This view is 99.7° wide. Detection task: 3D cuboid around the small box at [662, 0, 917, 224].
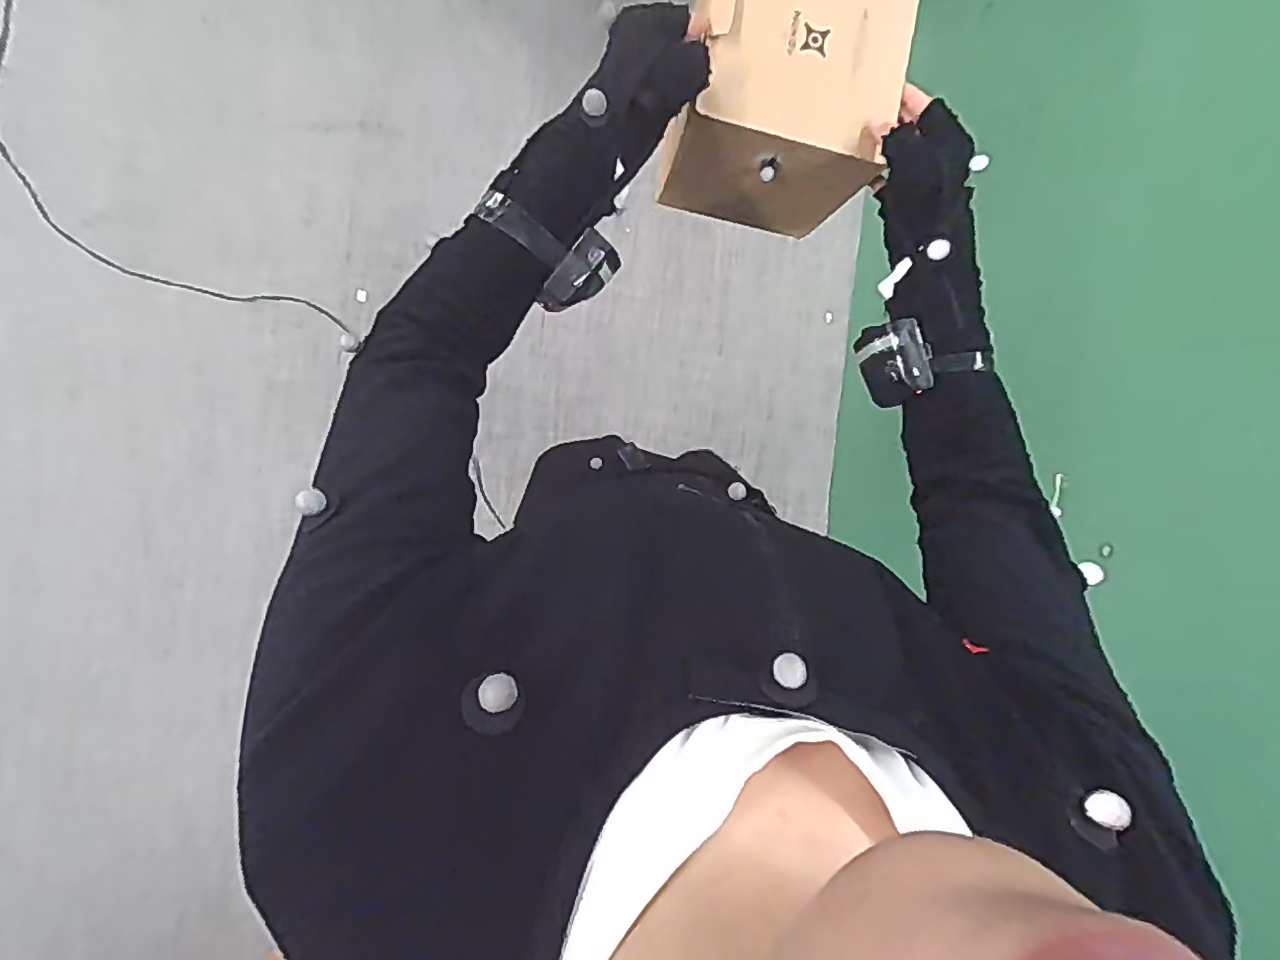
[{"bbox_3d":[0.128,-0.372,0.520,0.179,0.176,0.168,8,93,-11],"label":"small box"}]
